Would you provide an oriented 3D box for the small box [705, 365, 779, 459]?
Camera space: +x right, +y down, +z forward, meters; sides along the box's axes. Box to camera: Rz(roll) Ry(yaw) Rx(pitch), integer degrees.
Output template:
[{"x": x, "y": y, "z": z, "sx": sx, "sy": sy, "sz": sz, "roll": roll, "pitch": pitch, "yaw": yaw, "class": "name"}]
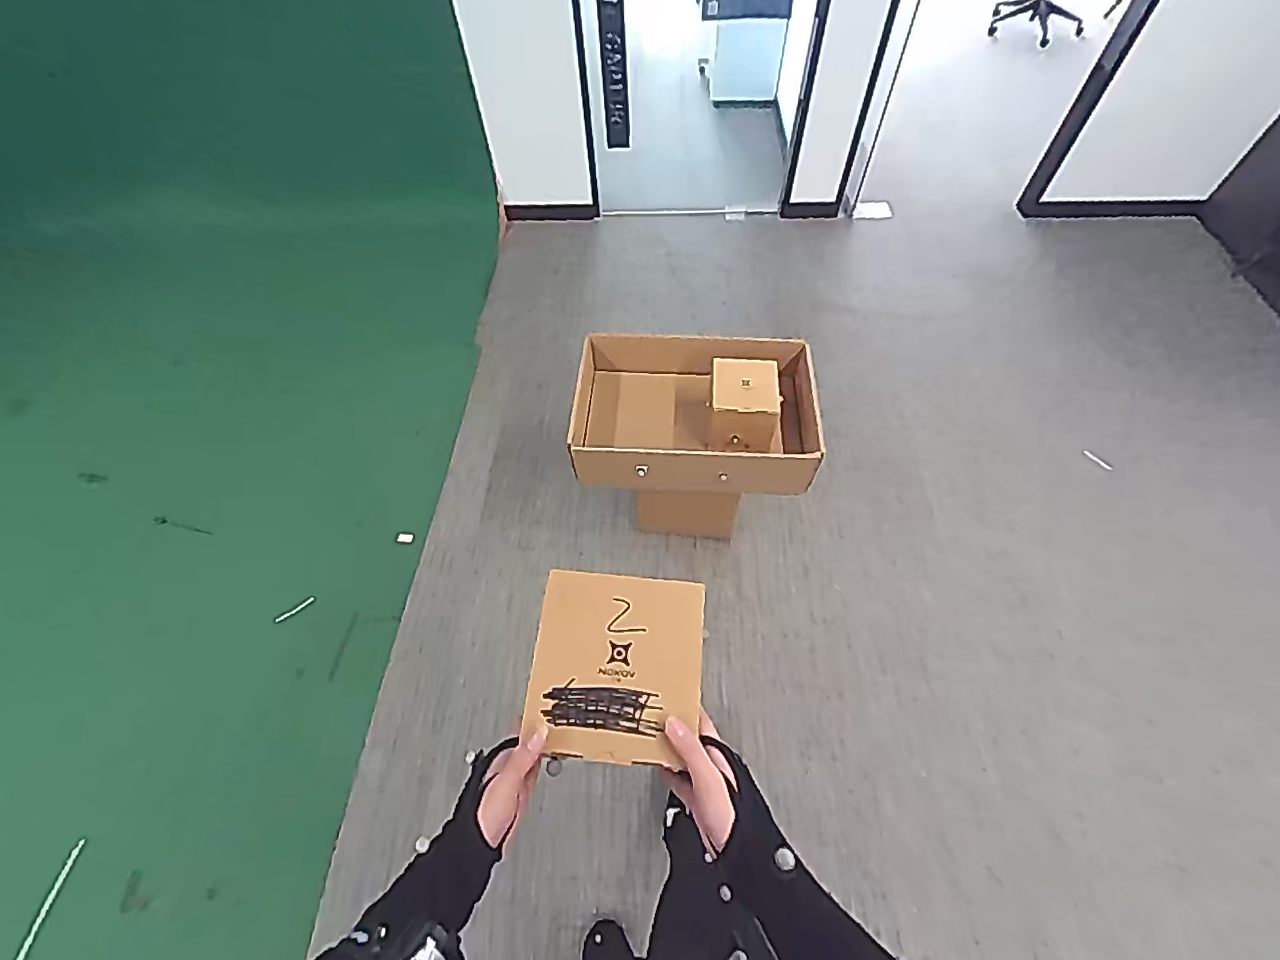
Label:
[{"x": 0.260, "y": -0.177, "z": 1.415, "sx": 0.168, "sy": 0.176, "sz": 0.179, "roll": 4, "pitch": 57, "yaw": 2, "class": "small box"}]
